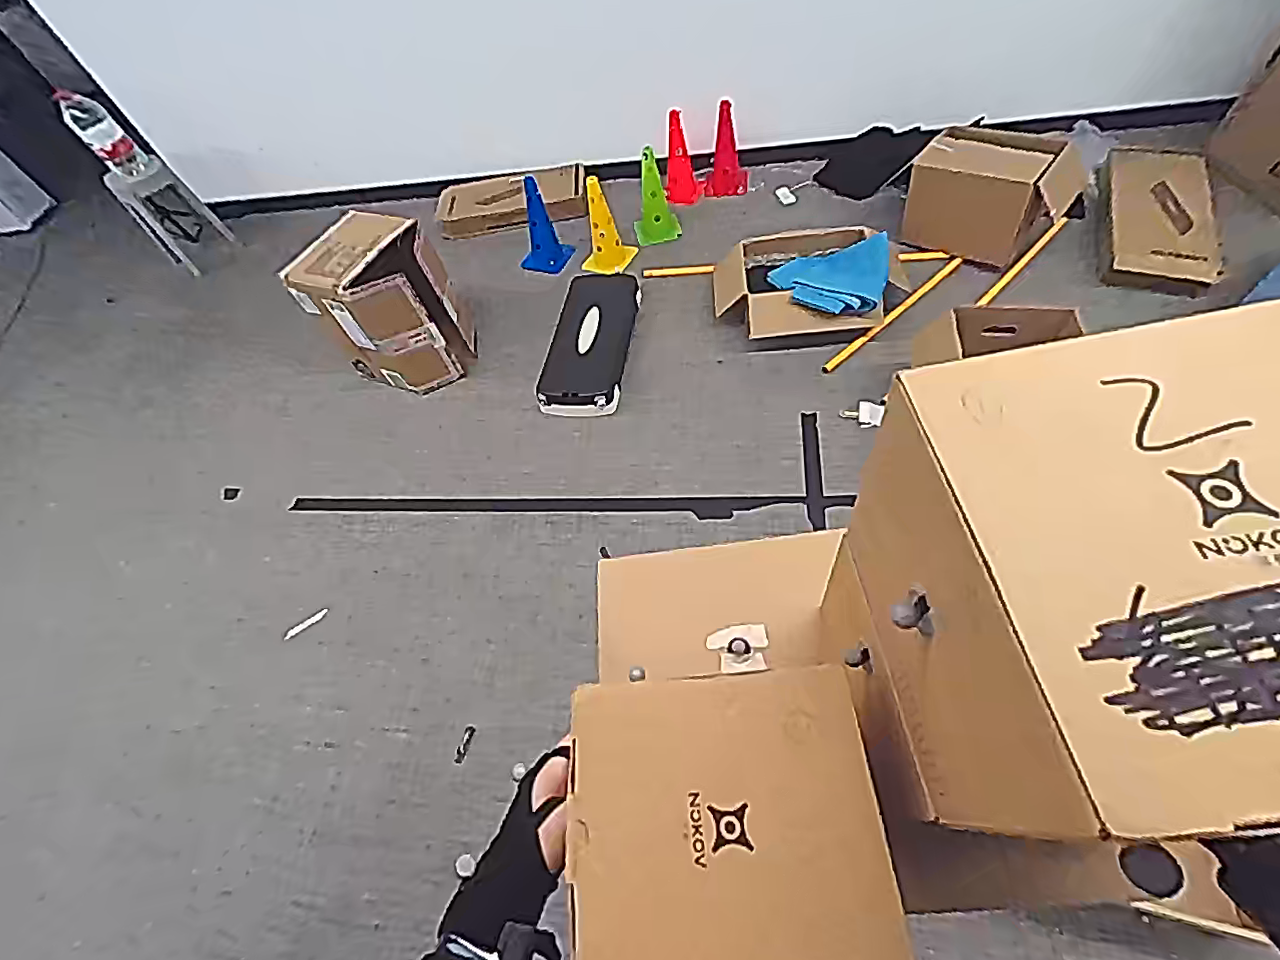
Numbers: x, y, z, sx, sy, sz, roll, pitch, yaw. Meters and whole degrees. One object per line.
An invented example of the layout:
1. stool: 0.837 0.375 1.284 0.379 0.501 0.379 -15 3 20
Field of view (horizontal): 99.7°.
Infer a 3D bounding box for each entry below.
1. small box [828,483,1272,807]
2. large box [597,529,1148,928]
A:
1. small box: 0.245 0.128 0.390 0.168 0.176 0.179 -10 58 7
2. large box: 0.189 0.266 0.610 0.408 0.320 0.320 -9 57 7
